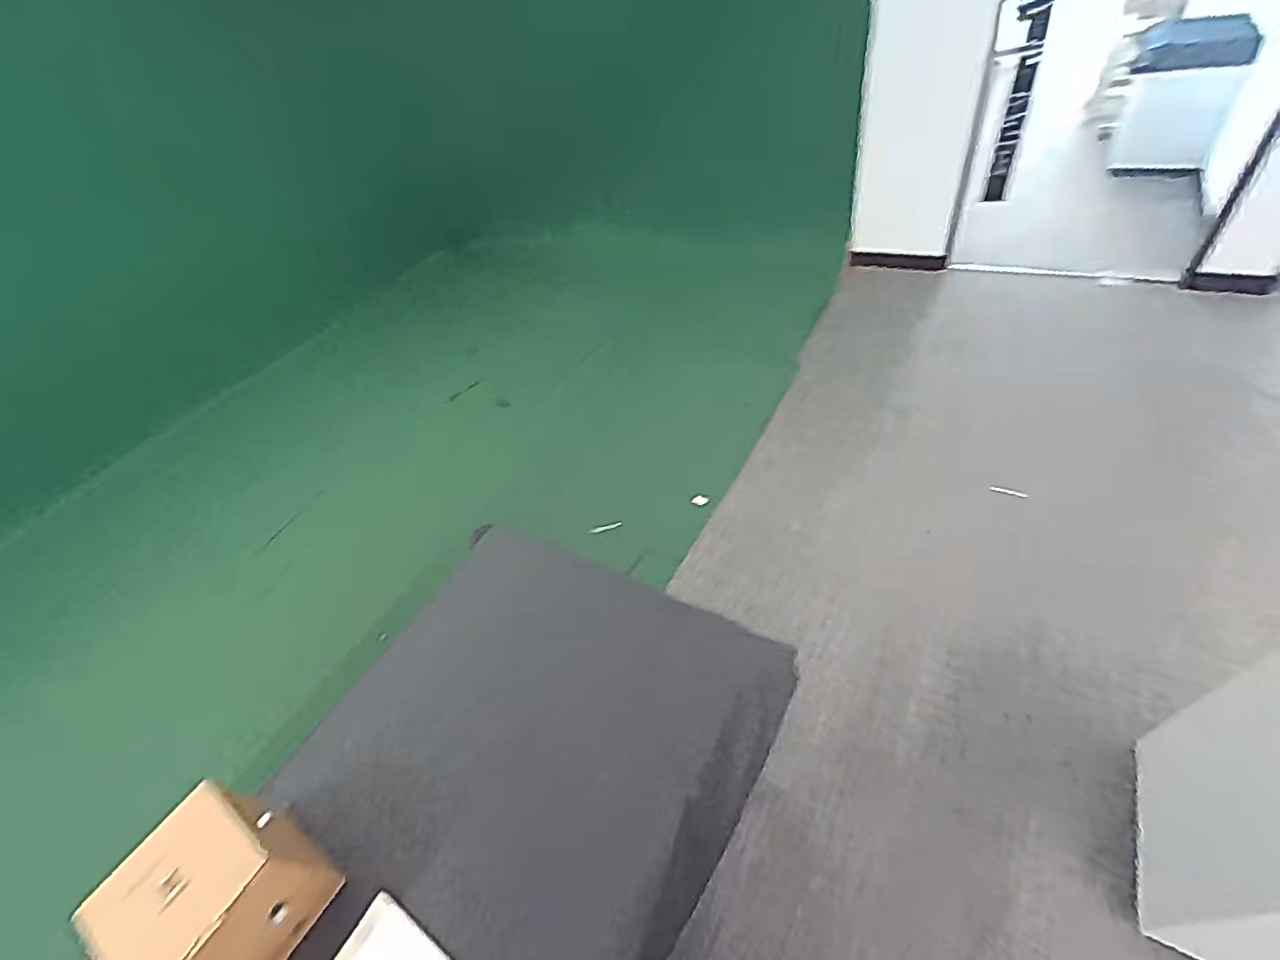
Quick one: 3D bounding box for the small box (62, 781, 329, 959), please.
[{"bbox_3d":[-0.546,0.527,0.688,0.179,0.176,0.168,18,54,28],"label":"small box"}]
